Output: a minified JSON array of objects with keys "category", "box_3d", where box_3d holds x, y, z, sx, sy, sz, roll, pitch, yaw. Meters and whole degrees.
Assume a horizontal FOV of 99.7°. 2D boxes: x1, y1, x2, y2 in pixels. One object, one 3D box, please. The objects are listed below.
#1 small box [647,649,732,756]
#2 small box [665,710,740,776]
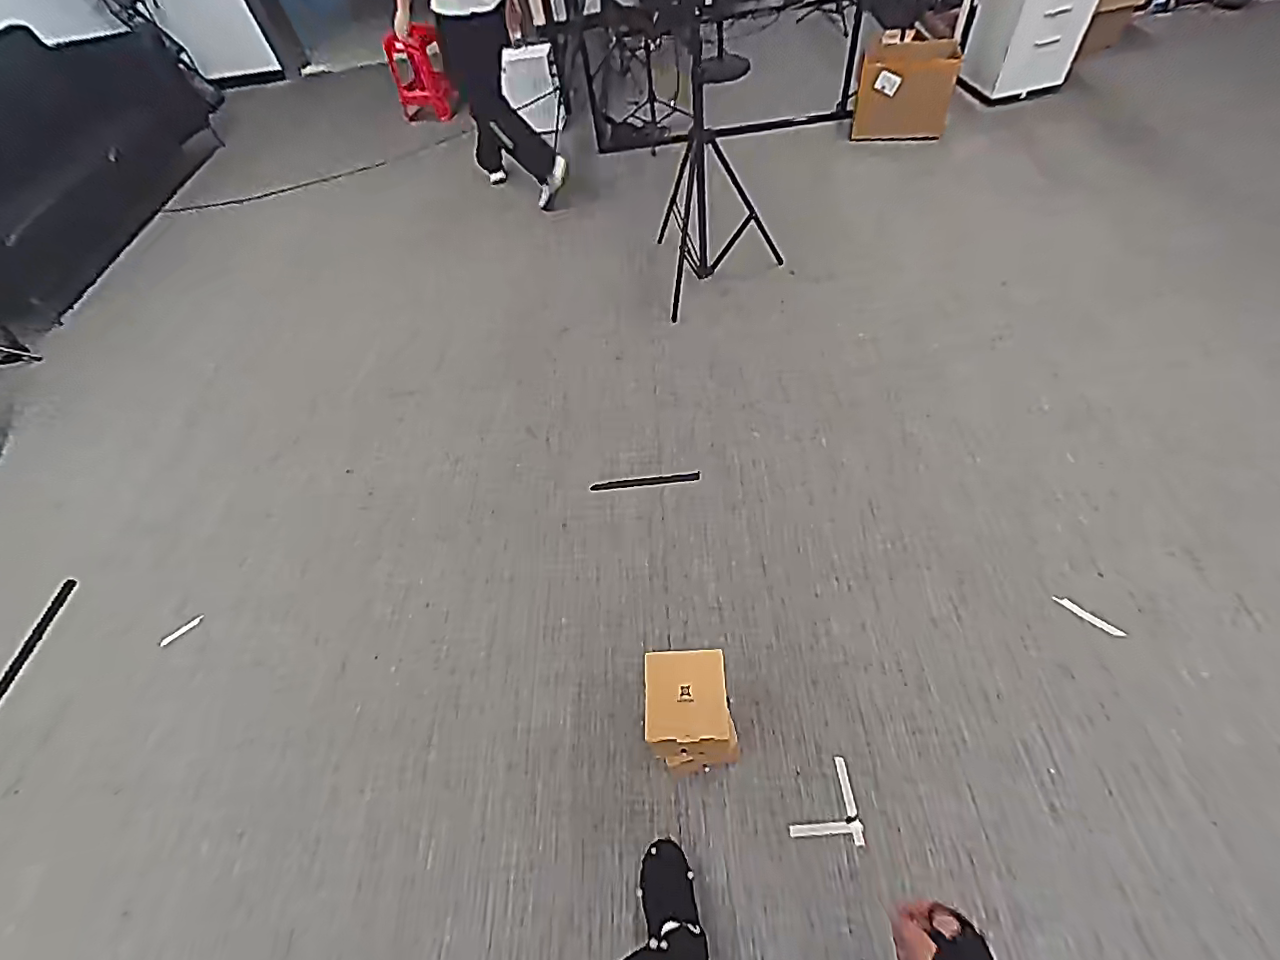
[{"category":"small box","box_3d":[0.102,0.475,1.147,0.168,0.176,0.179,-5,54,5]},{"category":"small box","box_3d":[0.129,0.574,1.274,0.168,0.176,0.179,-15,54,-1]}]
